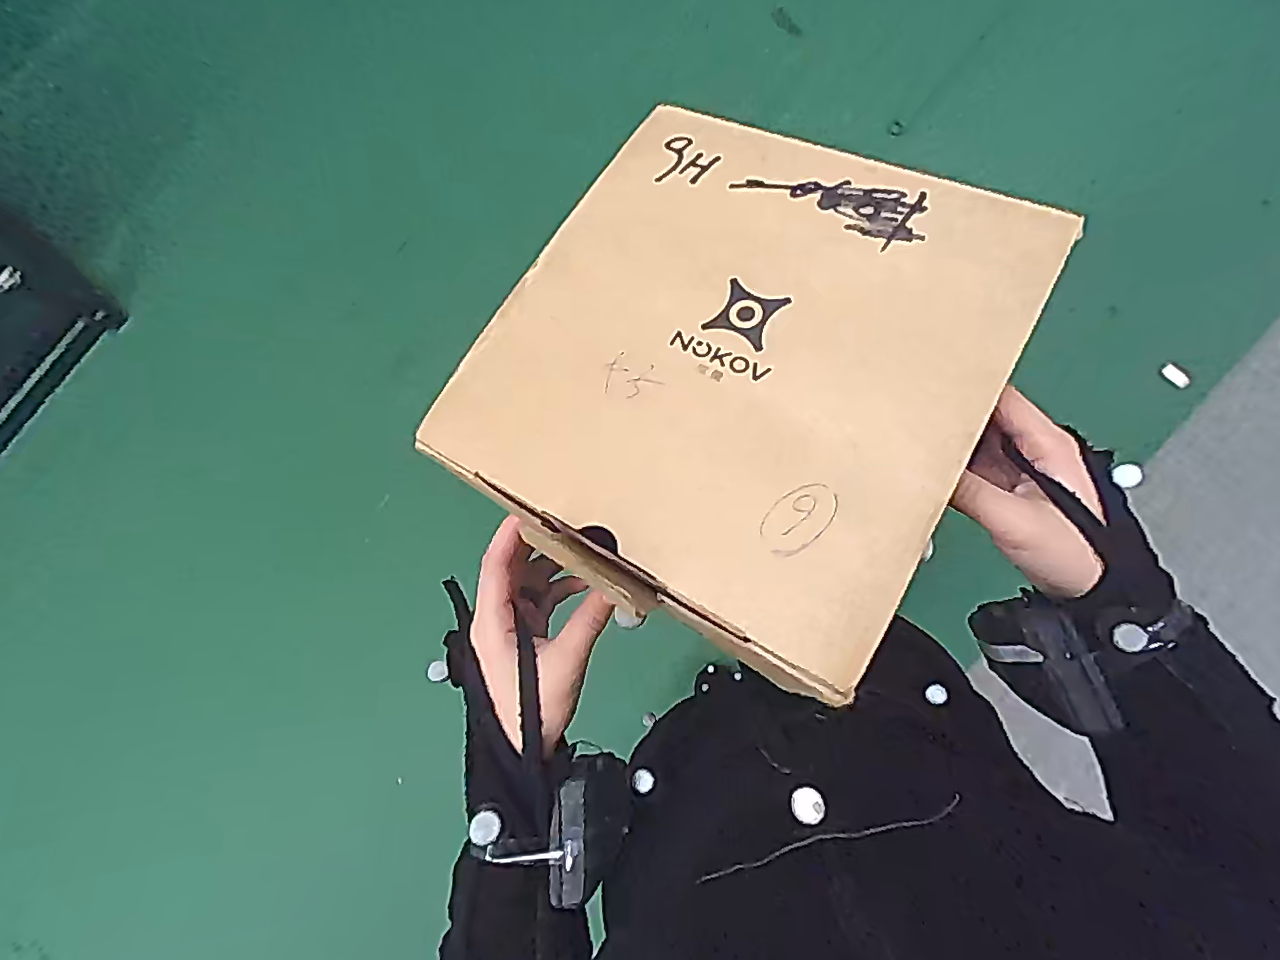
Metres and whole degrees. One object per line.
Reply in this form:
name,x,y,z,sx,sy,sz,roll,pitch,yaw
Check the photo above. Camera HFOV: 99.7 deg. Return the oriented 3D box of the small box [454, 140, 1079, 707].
small box,0.054,-0.015,0.269,0.168,0.176,0.179,29,78,19
